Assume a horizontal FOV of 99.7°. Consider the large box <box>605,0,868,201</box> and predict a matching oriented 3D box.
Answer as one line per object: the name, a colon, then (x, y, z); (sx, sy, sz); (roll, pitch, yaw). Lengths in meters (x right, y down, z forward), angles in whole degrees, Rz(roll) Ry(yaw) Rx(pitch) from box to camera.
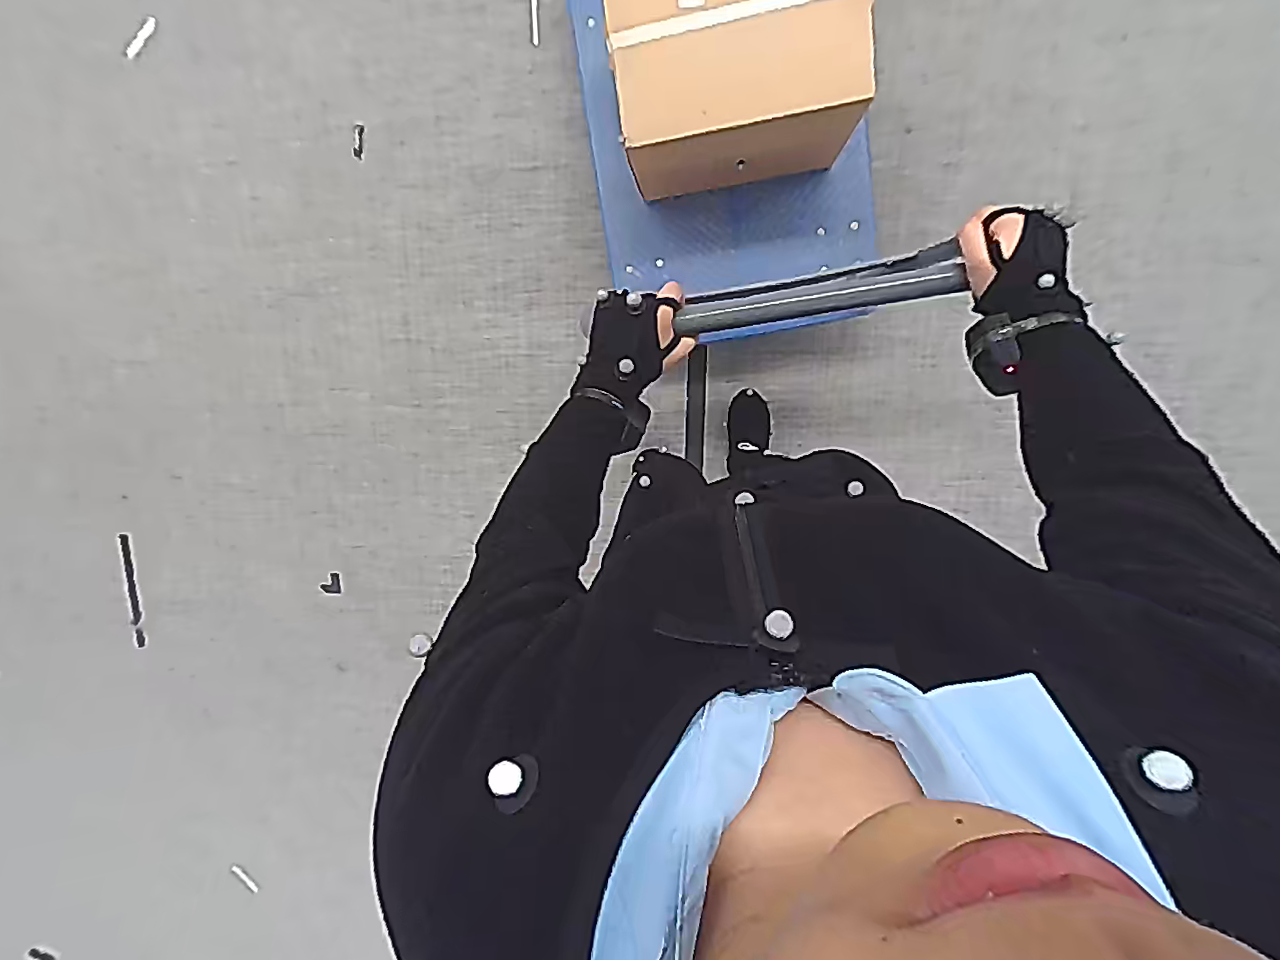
large box: (0.171, -0.764, 1.016); (0.408, 0.320, 0.320); (-7, 100, 9)
